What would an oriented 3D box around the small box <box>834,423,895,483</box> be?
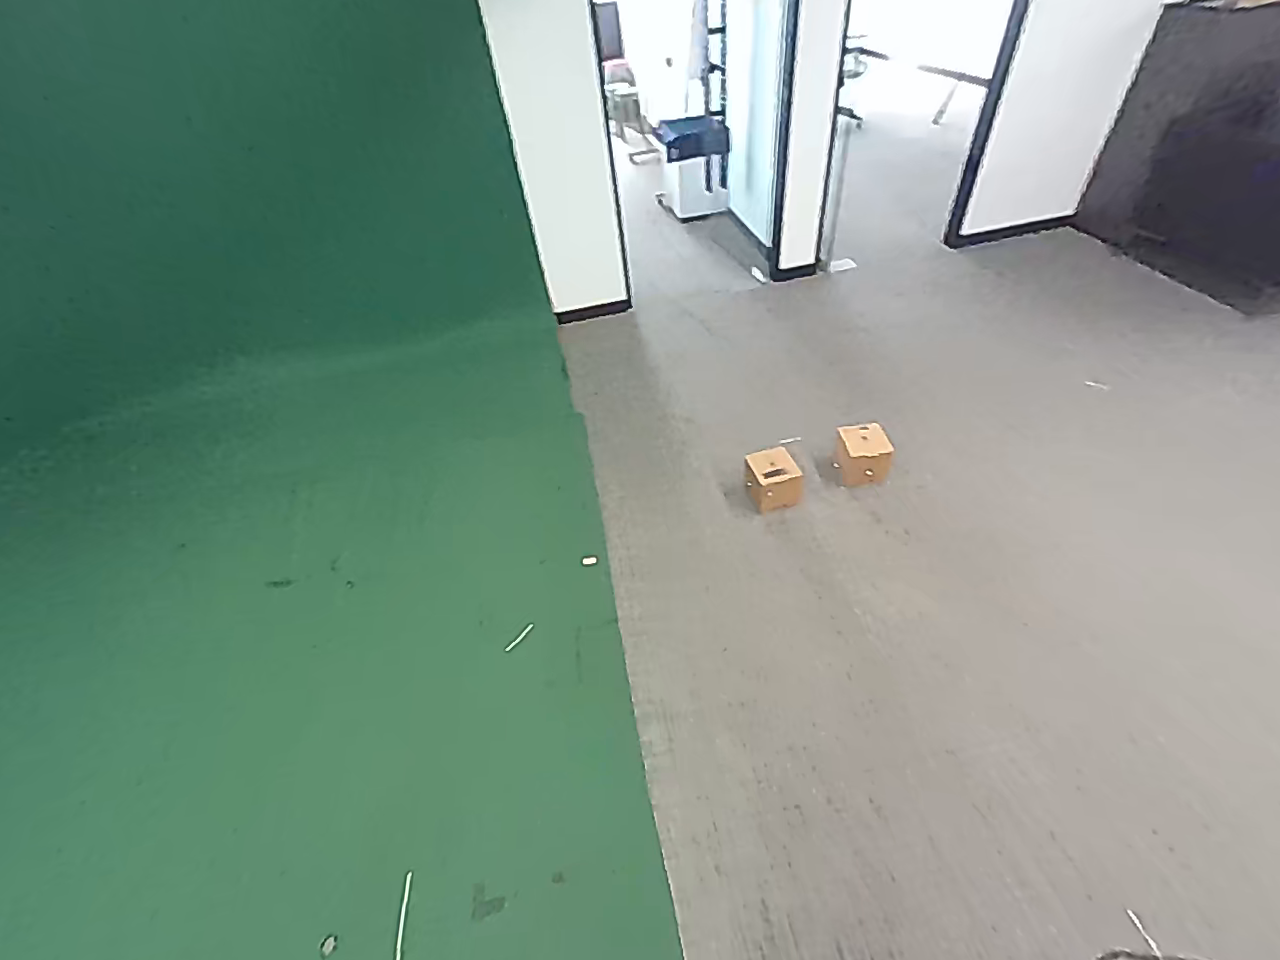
[{"bbox_3d":[0.890,-0.101,2.160,0.168,0.176,0.179,-6,46,2],"label":"small box"}]
